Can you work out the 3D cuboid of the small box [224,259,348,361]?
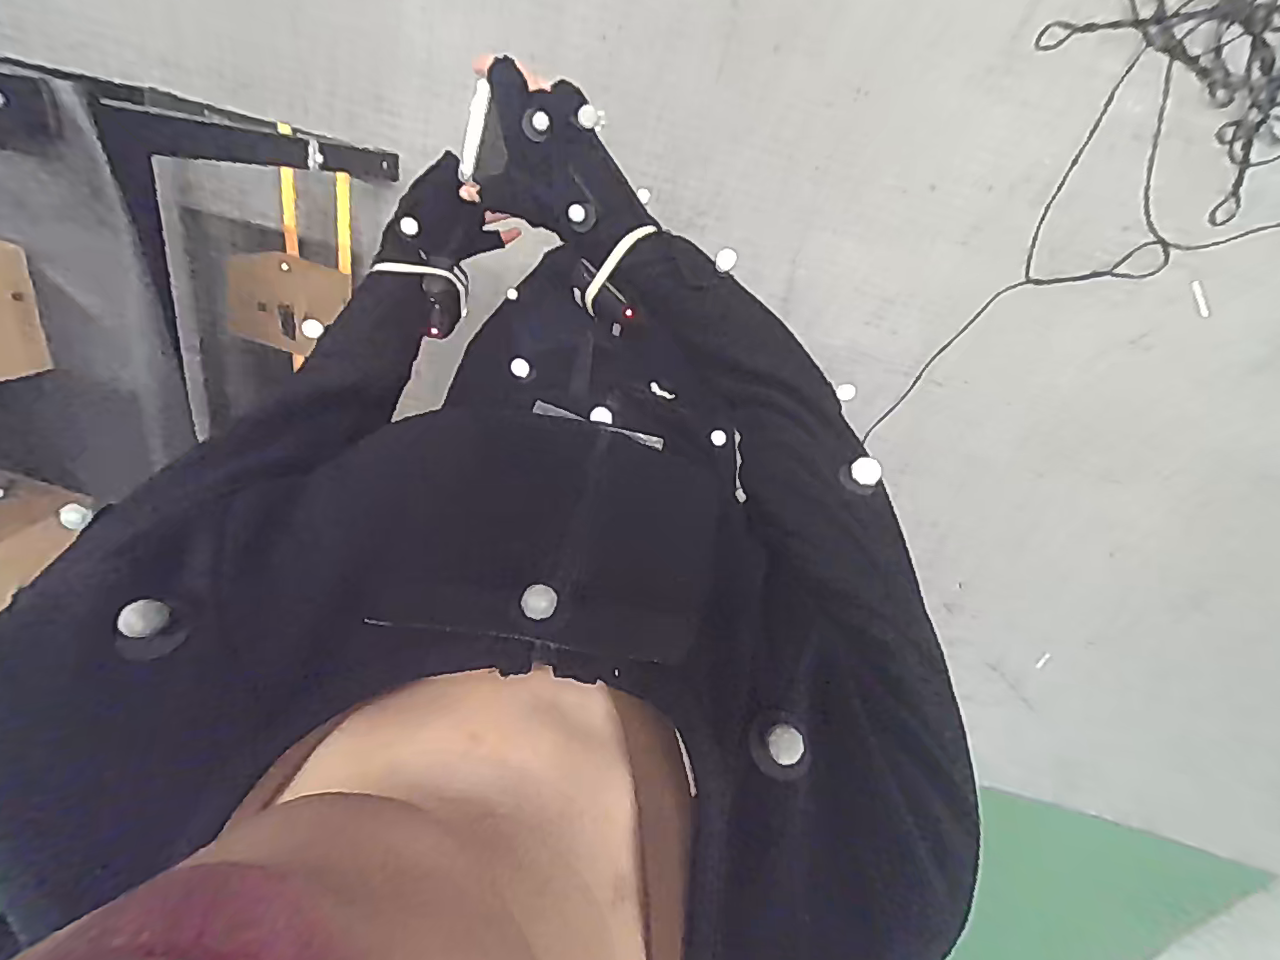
[{"bbox_3d":[-0.790,-0.391,1.224,0.179,0.176,0.168,18,116,-3],"label":"small box"}]

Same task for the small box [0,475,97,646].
[{"bbox_3d":[-0.962,0.118,0.795,0.168,0.176,0.179,17,117,-3],"label":"small box"}]
